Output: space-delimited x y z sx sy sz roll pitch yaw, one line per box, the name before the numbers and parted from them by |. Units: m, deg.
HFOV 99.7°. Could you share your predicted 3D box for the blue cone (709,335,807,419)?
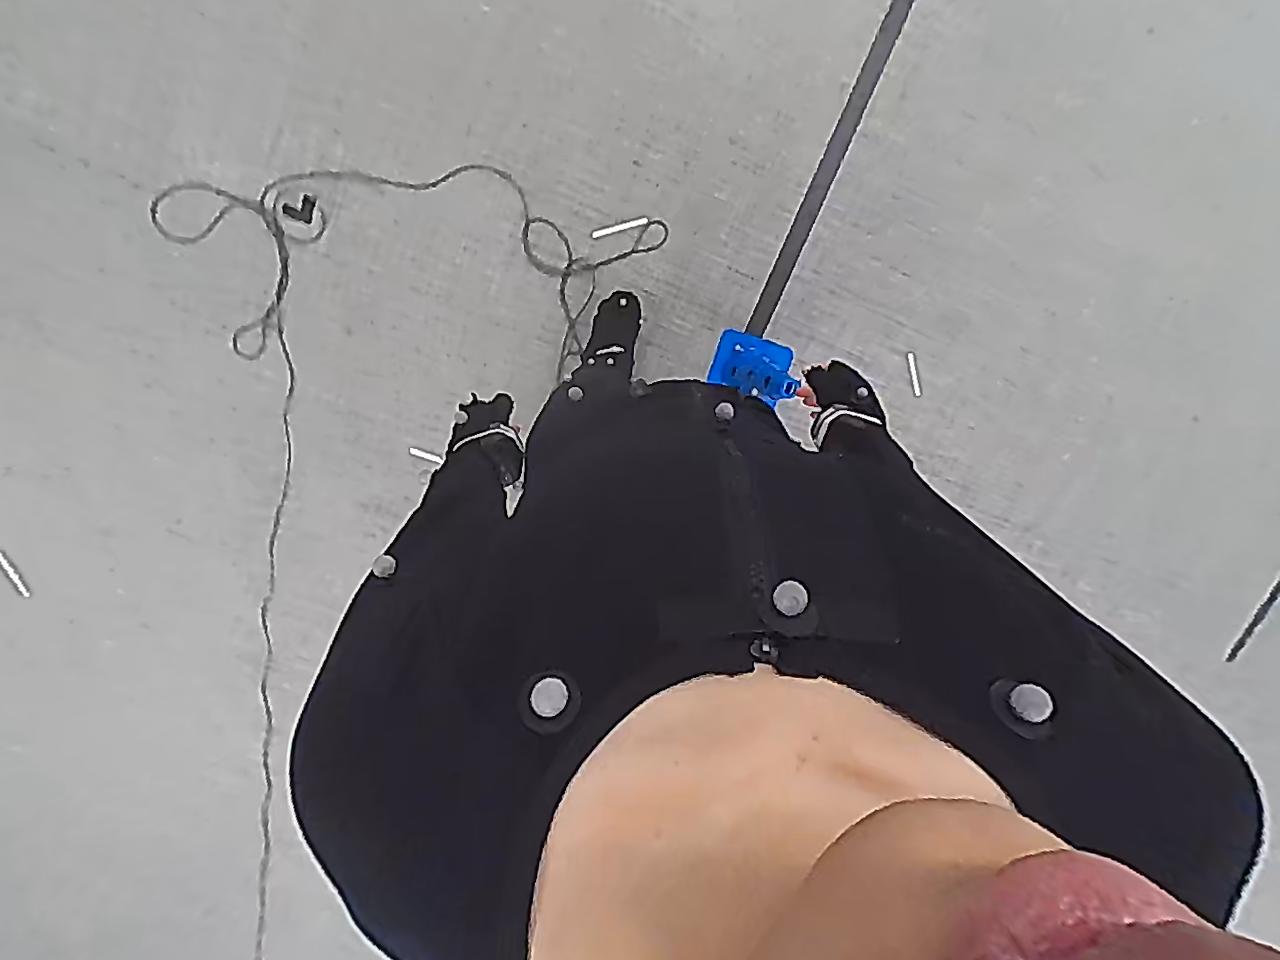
blue cone | 0.296 -0.229 1.260 0.192 0.380 0.193 17 103 -8
